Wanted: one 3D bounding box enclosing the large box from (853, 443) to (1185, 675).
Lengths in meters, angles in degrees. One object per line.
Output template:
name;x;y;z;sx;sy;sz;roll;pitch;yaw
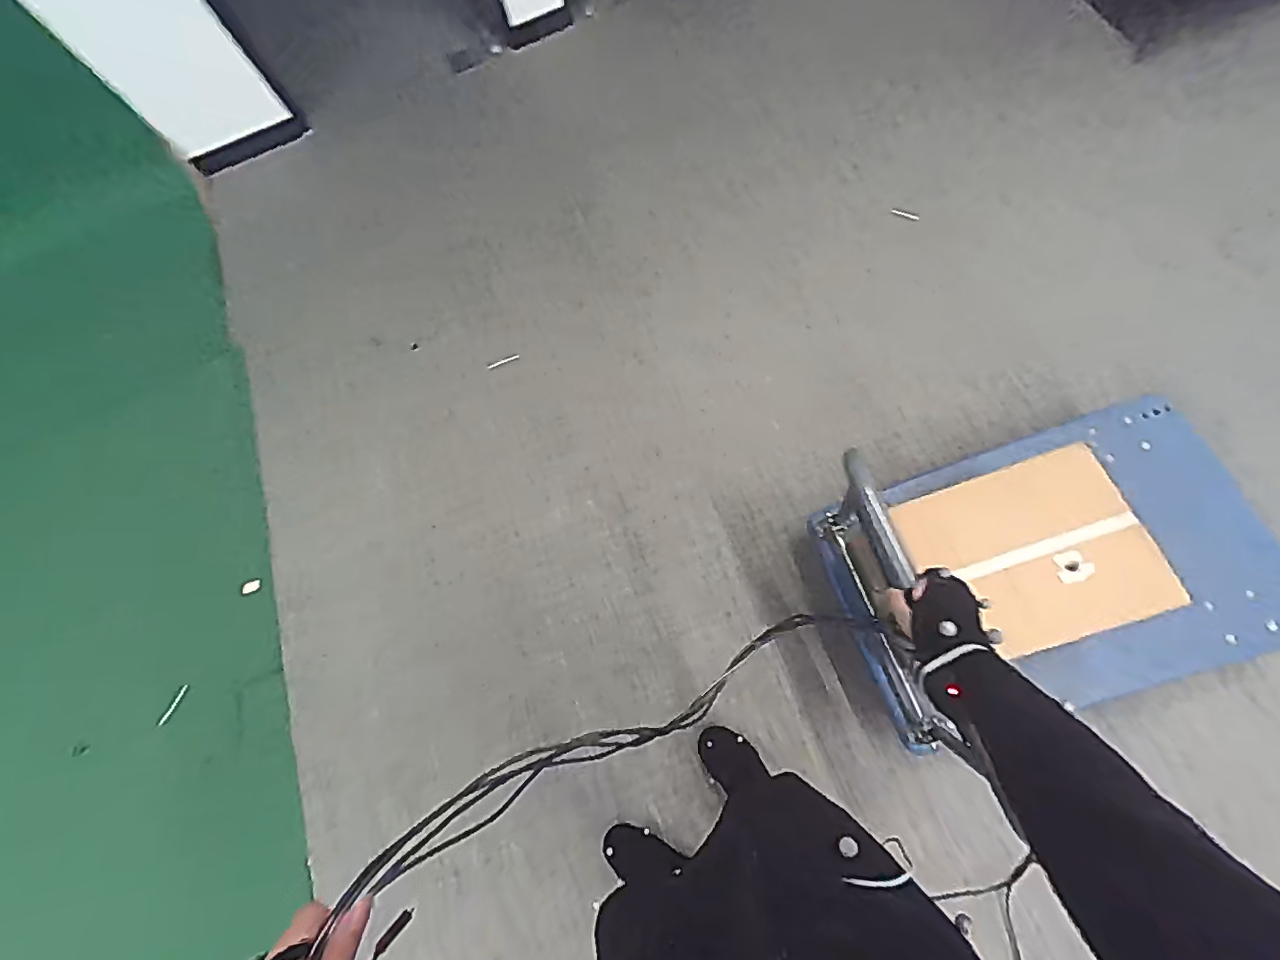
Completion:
large box;0.712;0.181;1.108;0.408;0.320;0.320;-20;70;5
